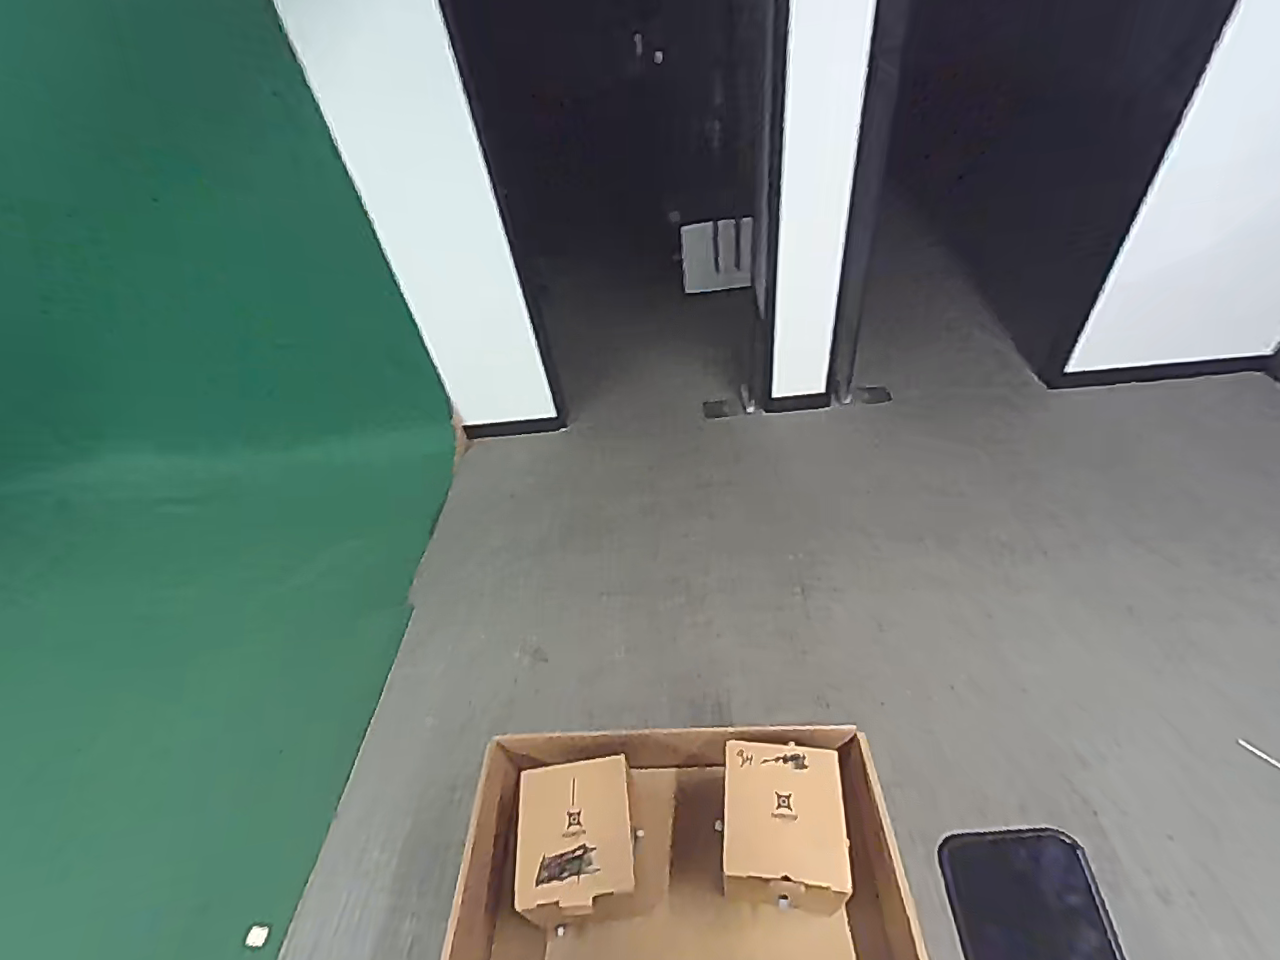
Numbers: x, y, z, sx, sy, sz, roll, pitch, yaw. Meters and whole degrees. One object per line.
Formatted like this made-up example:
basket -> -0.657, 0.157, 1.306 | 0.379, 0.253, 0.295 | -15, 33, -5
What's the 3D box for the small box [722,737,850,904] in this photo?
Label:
small box -> 0.214, 0.514, 0.816 | 0.168, 0.176, 0.179 | 0, 45, 11
